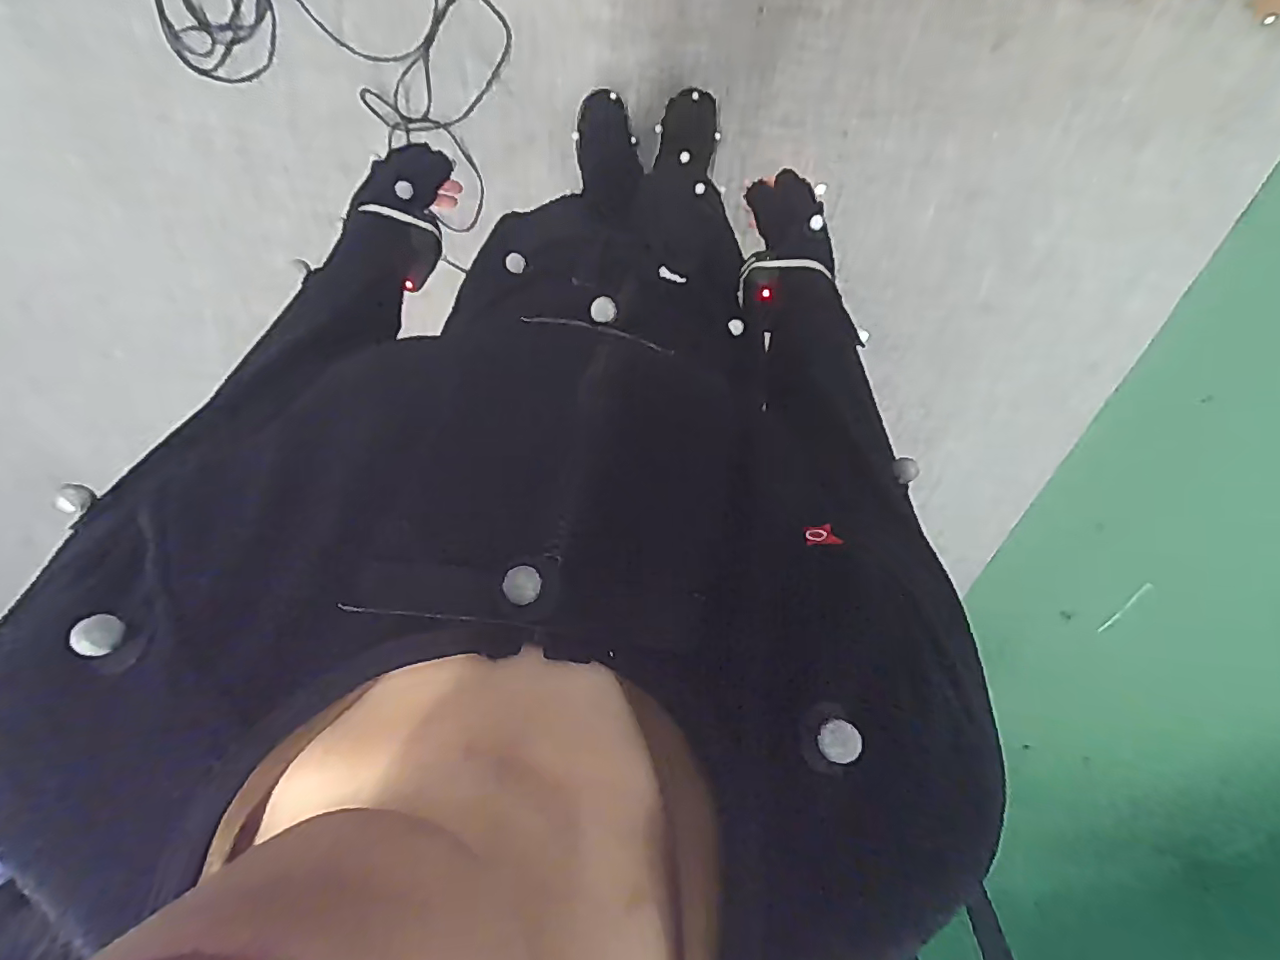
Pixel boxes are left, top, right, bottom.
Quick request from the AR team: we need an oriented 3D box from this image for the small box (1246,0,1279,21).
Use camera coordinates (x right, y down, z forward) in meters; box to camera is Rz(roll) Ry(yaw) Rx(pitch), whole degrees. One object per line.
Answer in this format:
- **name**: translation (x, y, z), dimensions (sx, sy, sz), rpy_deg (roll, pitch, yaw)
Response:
- **small box**: translation (1.223, -0.899, 0.924), dimensions (0.168, 0.176, 0.179), rpy_deg (5, 128, -5)
